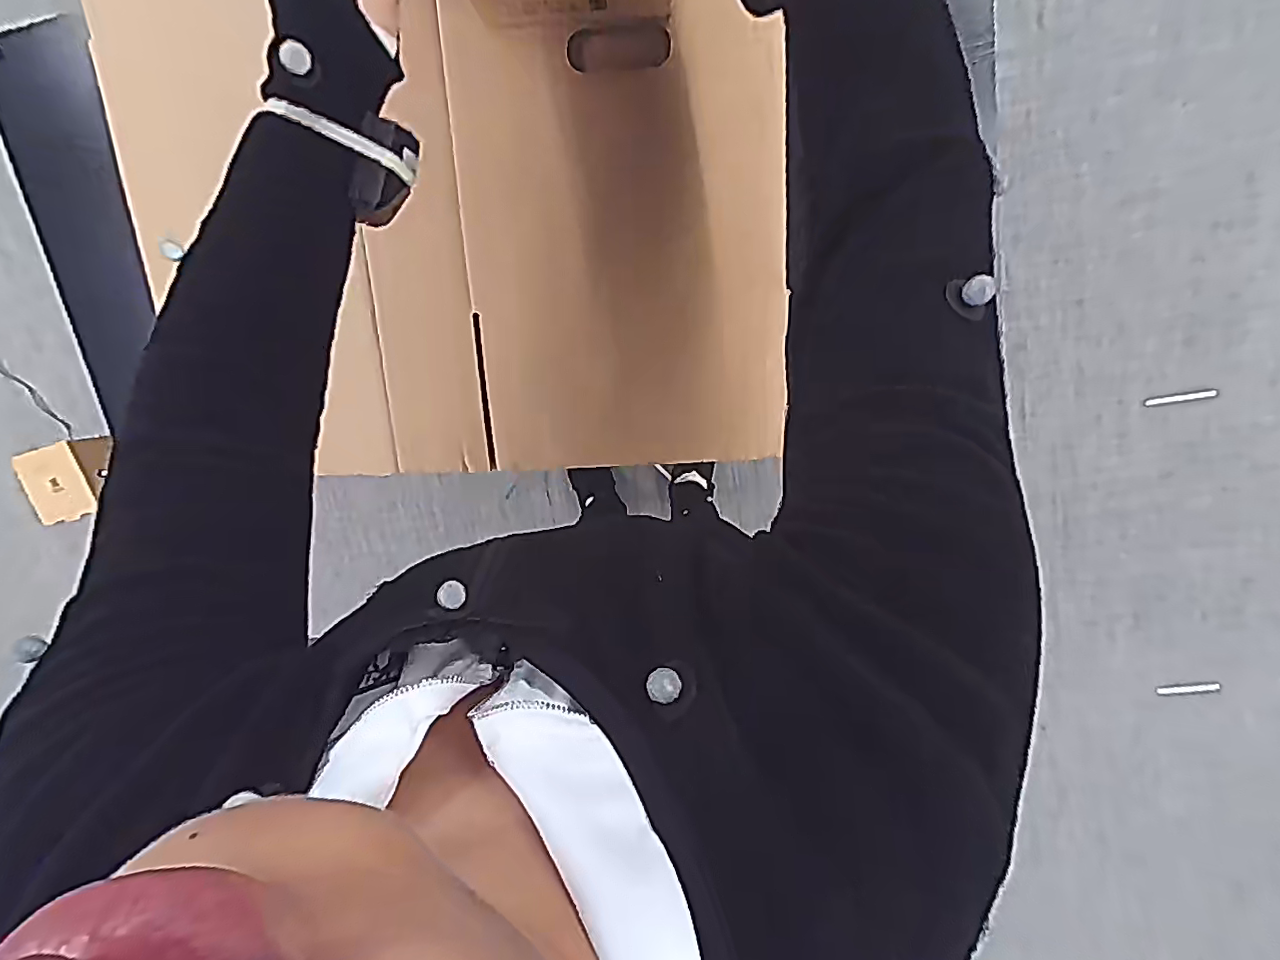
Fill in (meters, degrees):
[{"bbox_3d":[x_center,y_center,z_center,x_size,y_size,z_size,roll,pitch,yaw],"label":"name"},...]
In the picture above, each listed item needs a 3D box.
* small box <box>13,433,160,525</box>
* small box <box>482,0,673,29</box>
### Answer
[{"bbox_3d":[-1.367,-0.008,1.351,0.168,0.176,0.179,-15,99,8],"label":"small box"},{"bbox_3d":[-0.057,-0.460,0.368,0.168,0.176,0.179,-1,100,2],"label":"small box"}]
